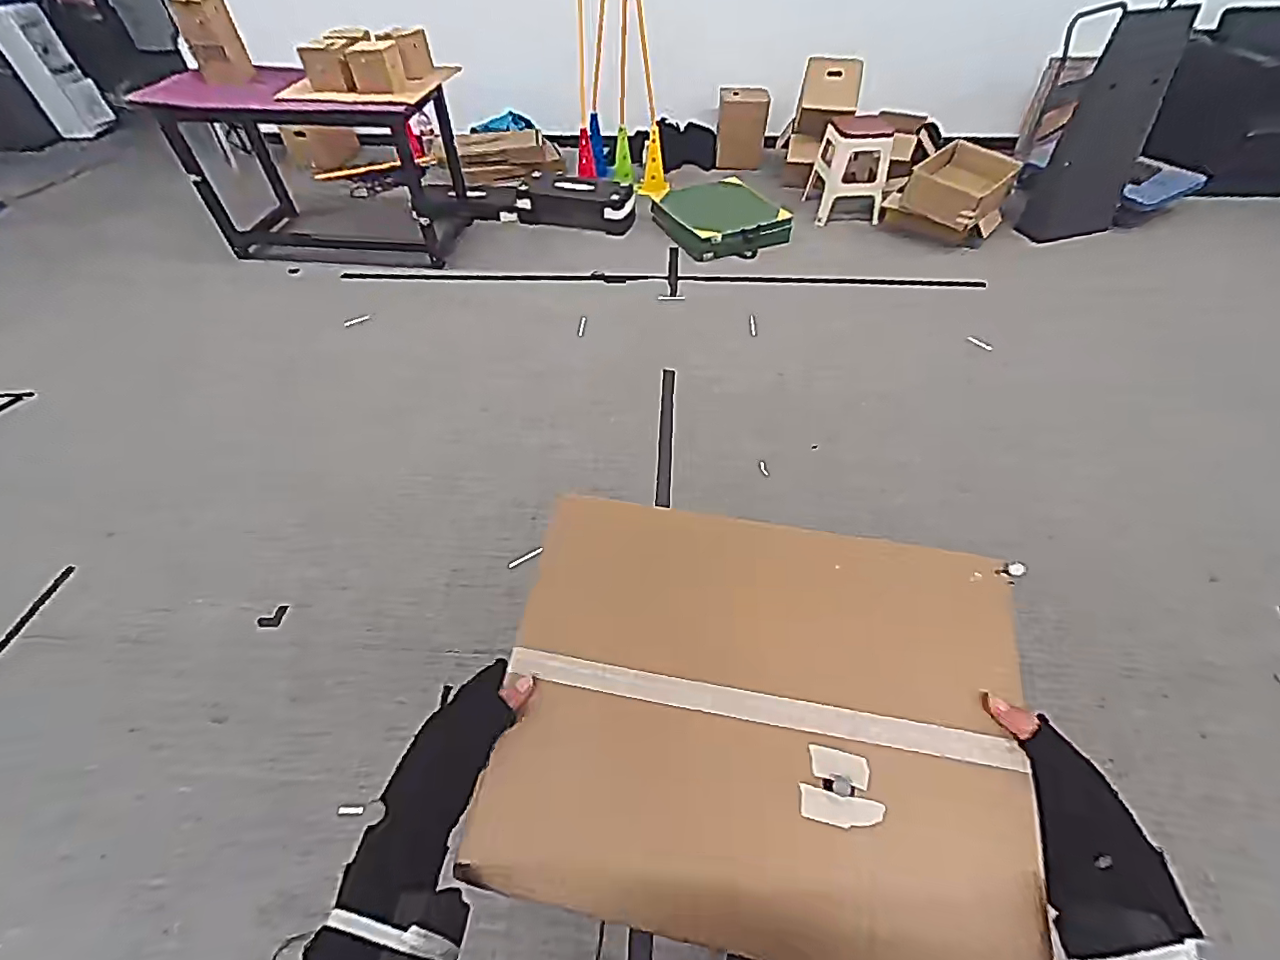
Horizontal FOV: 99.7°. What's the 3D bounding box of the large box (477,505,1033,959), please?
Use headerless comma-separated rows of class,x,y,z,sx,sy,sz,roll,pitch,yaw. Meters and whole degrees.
large box,0.099,0.249,0.580,0.408,0.320,0.320,8,65,6
